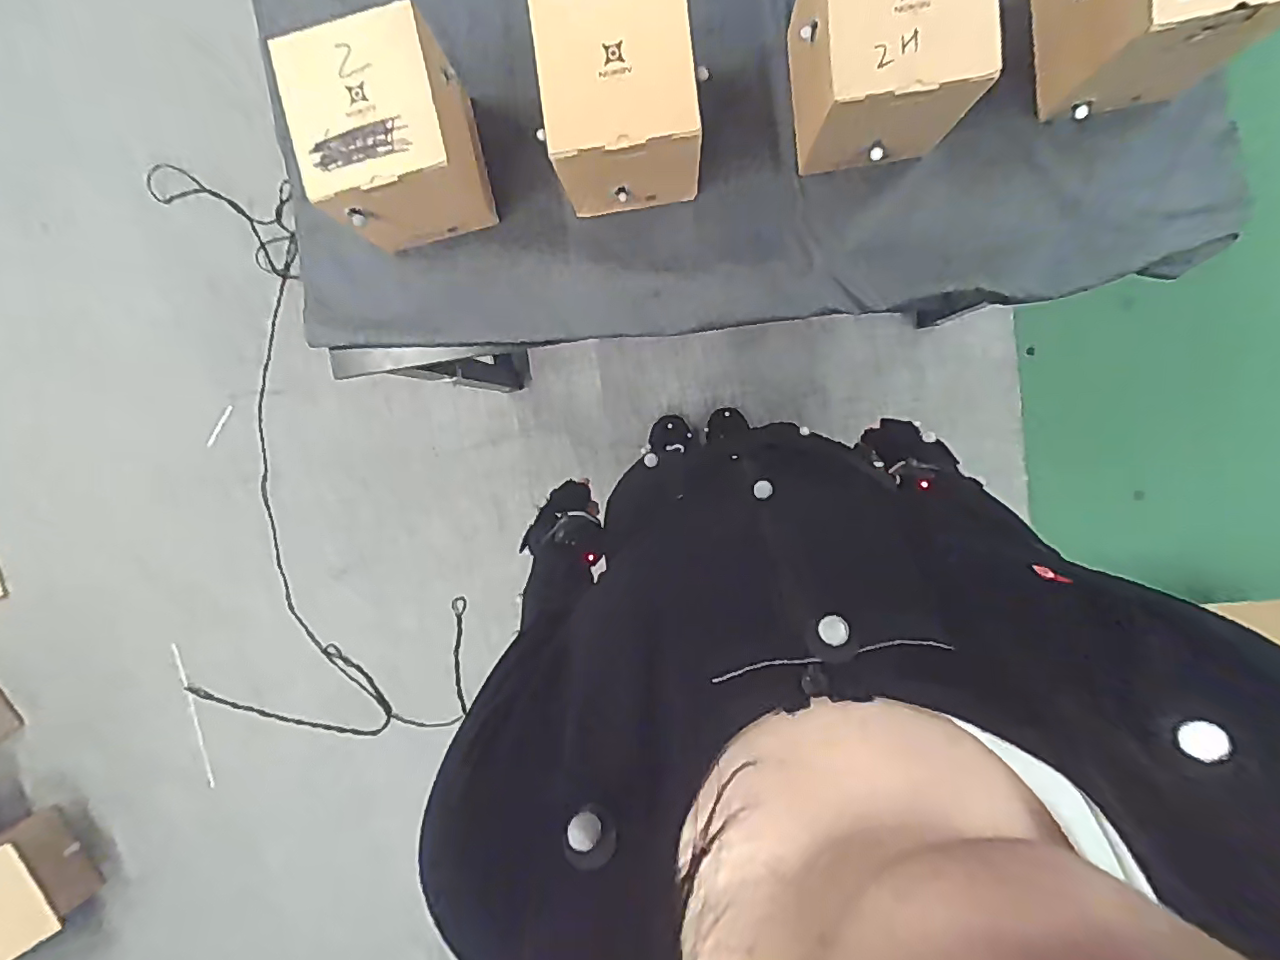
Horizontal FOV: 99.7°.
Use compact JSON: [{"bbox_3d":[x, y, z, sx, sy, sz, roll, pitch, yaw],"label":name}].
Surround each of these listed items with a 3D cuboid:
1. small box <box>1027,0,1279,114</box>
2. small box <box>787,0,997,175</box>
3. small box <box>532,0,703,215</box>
[{"bbox_3d":[0.567,-0.541,0.598,0.168,0.176,0.179,-8,95,4],"label":"small box"},{"bbox_3d":[0.273,-0.487,0.621,0.168,0.176,0.179,-7,96,4],"label":"small box"},{"bbox_3d":[-0.021,-0.446,0.644,0.168,0.176,0.179,-7,96,3],"label":"small box"}]
